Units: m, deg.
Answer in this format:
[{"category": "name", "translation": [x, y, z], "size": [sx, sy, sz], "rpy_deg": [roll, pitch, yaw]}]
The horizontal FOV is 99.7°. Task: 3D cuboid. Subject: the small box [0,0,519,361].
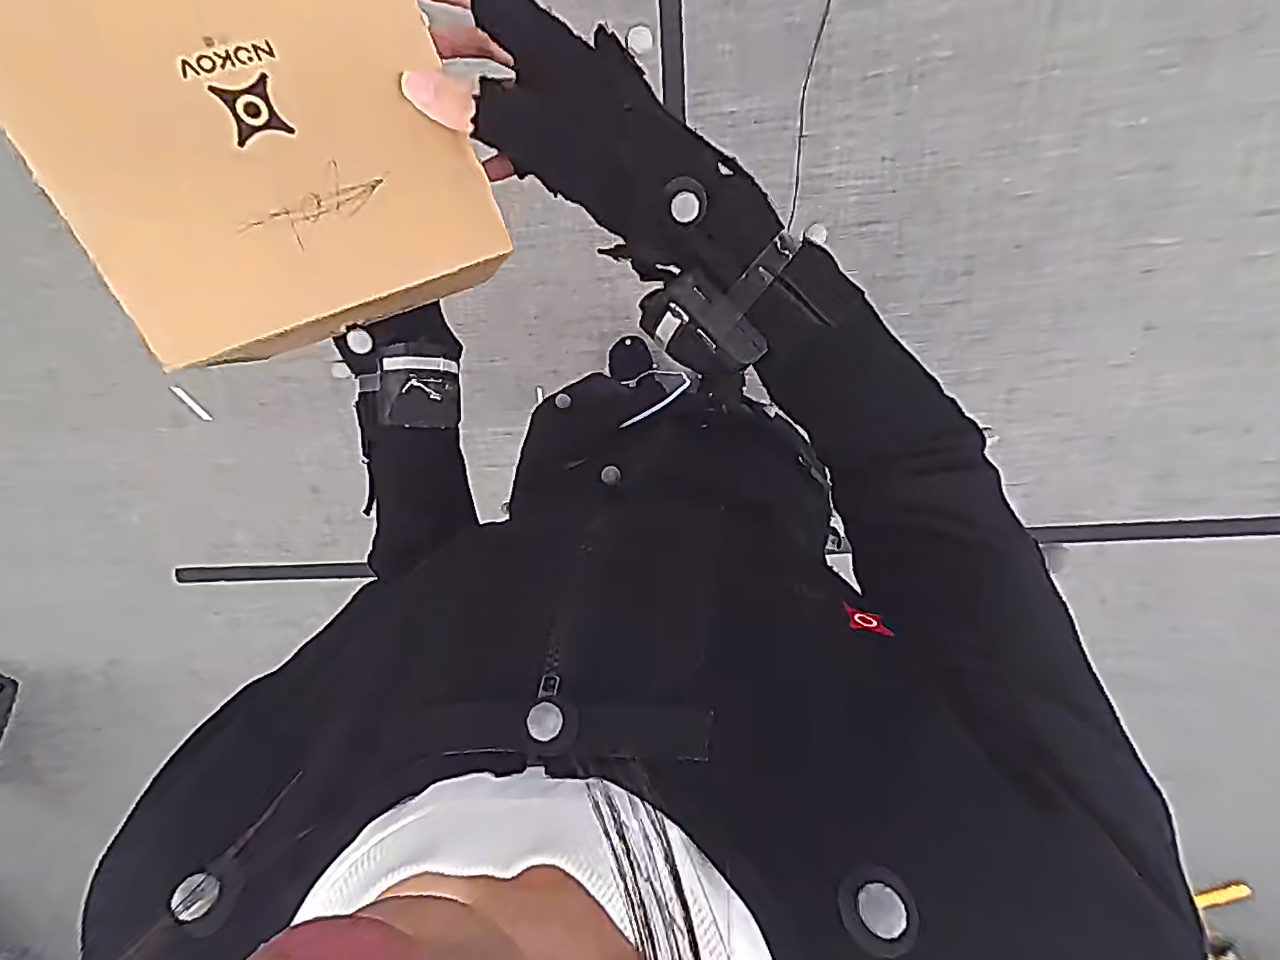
[{"category": "small box", "translation": [-0.190, -0.179, 0.312], "size": [0.168, 0.176, 0.179], "rpy_deg": [-25, 111, -13]}]
